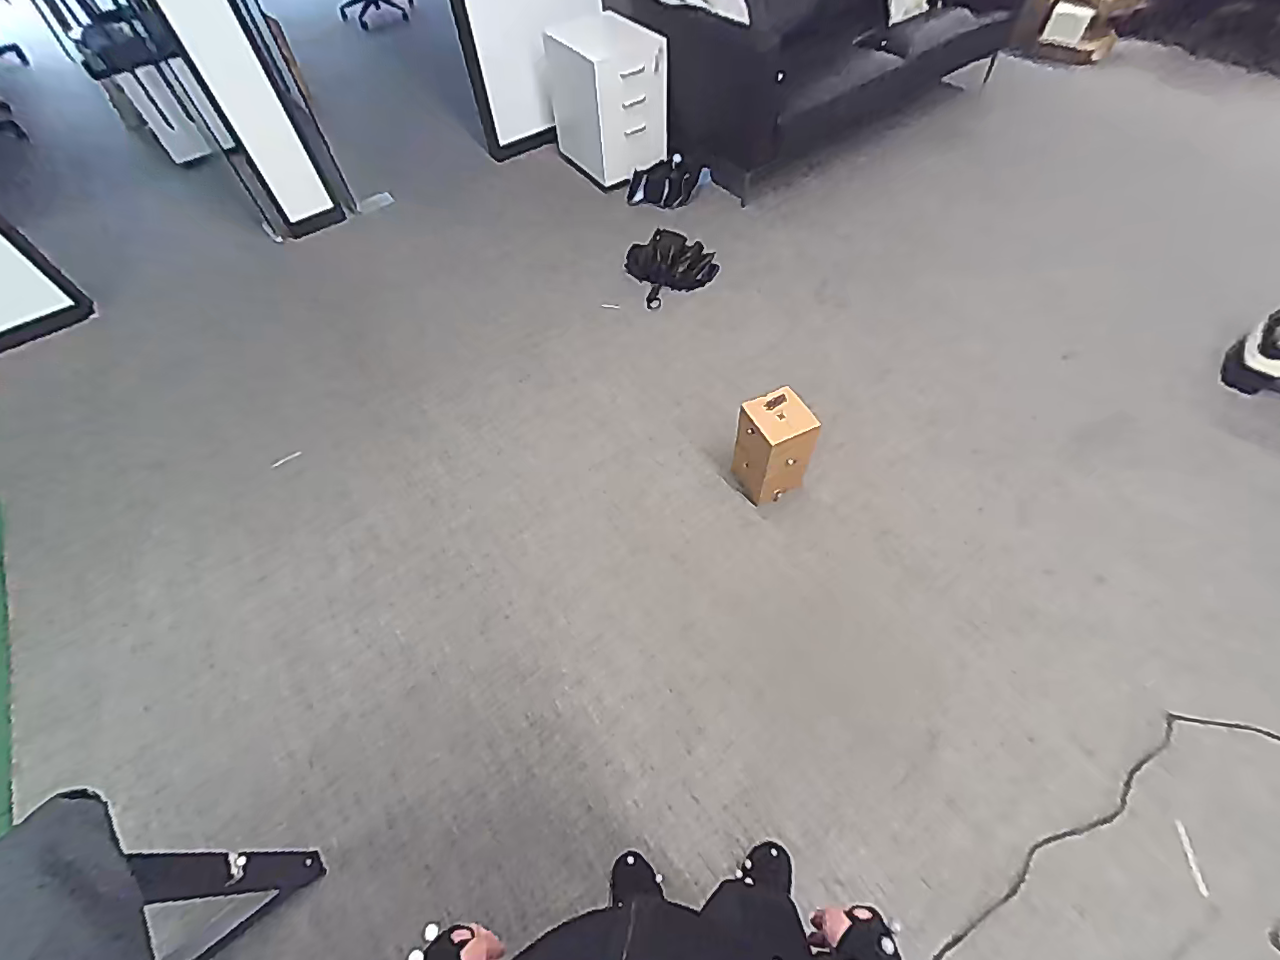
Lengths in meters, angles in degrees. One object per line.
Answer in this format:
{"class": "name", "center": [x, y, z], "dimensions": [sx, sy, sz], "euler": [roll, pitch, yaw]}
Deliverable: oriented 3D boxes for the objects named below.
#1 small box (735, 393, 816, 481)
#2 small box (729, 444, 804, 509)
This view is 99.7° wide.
{"class": "small box", "center": [0.404, -0.127, 1.652], "dimensions": [0.168, 0.176, 0.179], "euler": [-22, 58, -11]}
{"class": "small box", "center": [0.409, -0.035, 1.787], "dimensions": [0.168, 0.176, 0.179], "euler": [-23, 59, -12]}
